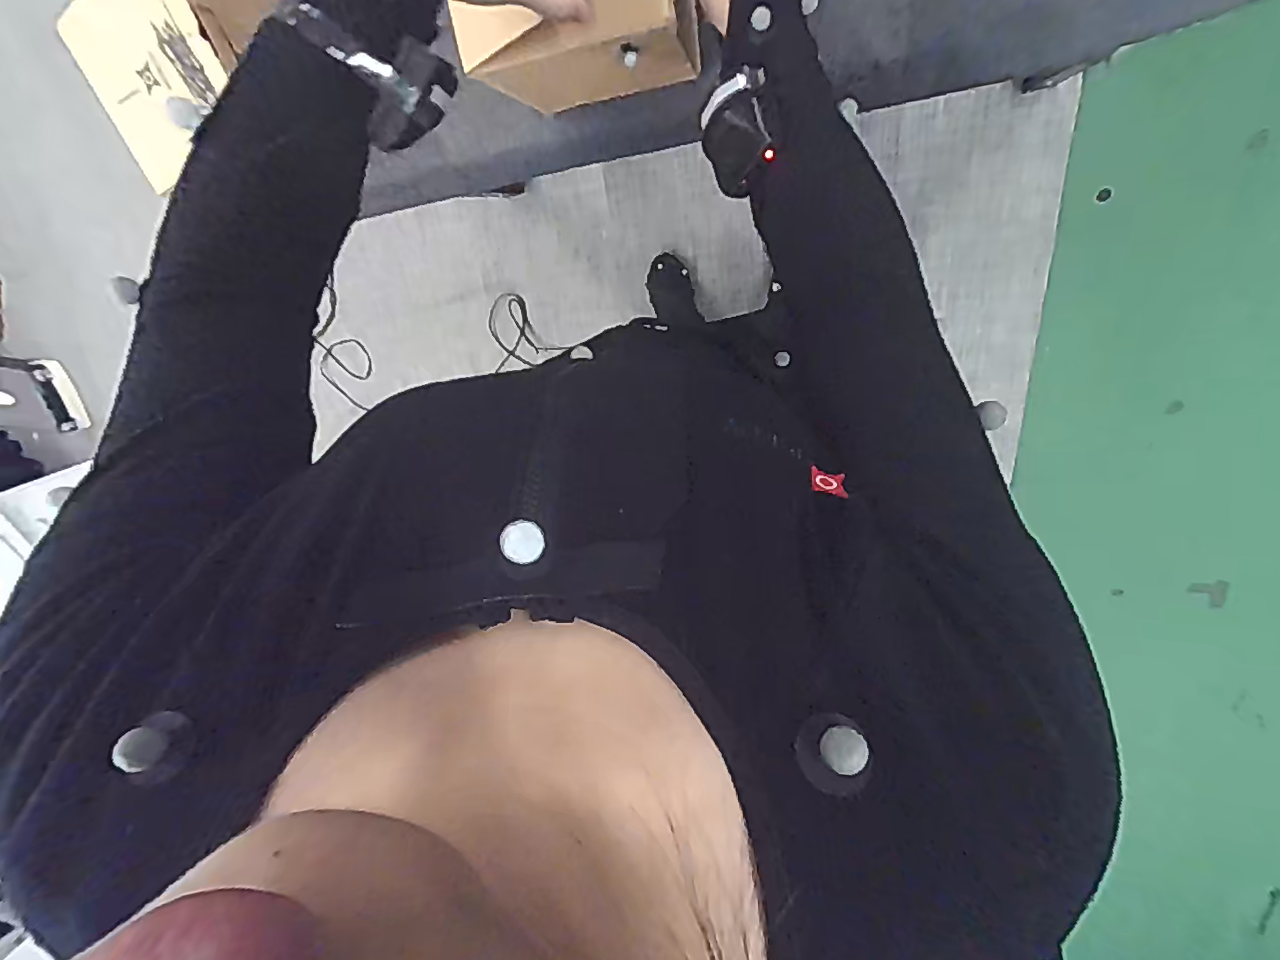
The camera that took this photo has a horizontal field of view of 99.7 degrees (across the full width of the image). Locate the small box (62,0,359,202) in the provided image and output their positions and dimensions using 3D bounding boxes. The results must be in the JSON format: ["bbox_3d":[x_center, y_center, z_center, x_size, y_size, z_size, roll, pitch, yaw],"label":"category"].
[{"bbox_3d":[-0.453,-0.431,0.604,0.179,0.176,0.168,-11,113,23],"label":"small box"}]

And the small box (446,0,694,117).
[{"bbox_3d":[-0.056,-0.438,0.467,0.179,0.176,0.168,-2,113,14],"label":"small box"}]
